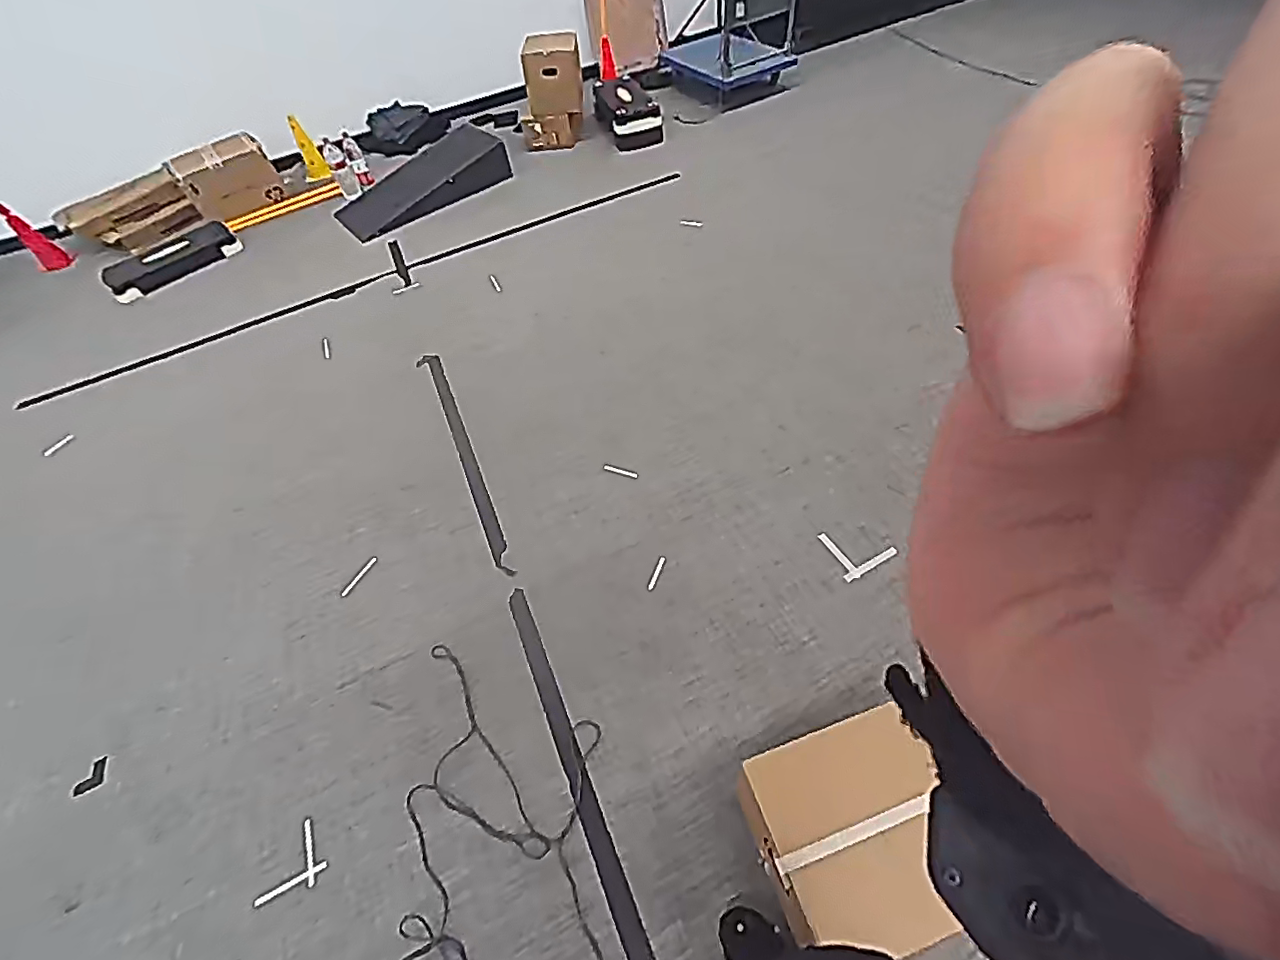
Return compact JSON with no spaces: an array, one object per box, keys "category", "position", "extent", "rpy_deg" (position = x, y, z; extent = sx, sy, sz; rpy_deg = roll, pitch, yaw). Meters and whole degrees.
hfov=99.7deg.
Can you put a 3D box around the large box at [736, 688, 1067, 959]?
[{"category":"large box","position":[0.427,0.650,0.994],"extent":[0.408,0.320,0.320],"rpy_deg":[-18,52,-8]}]
